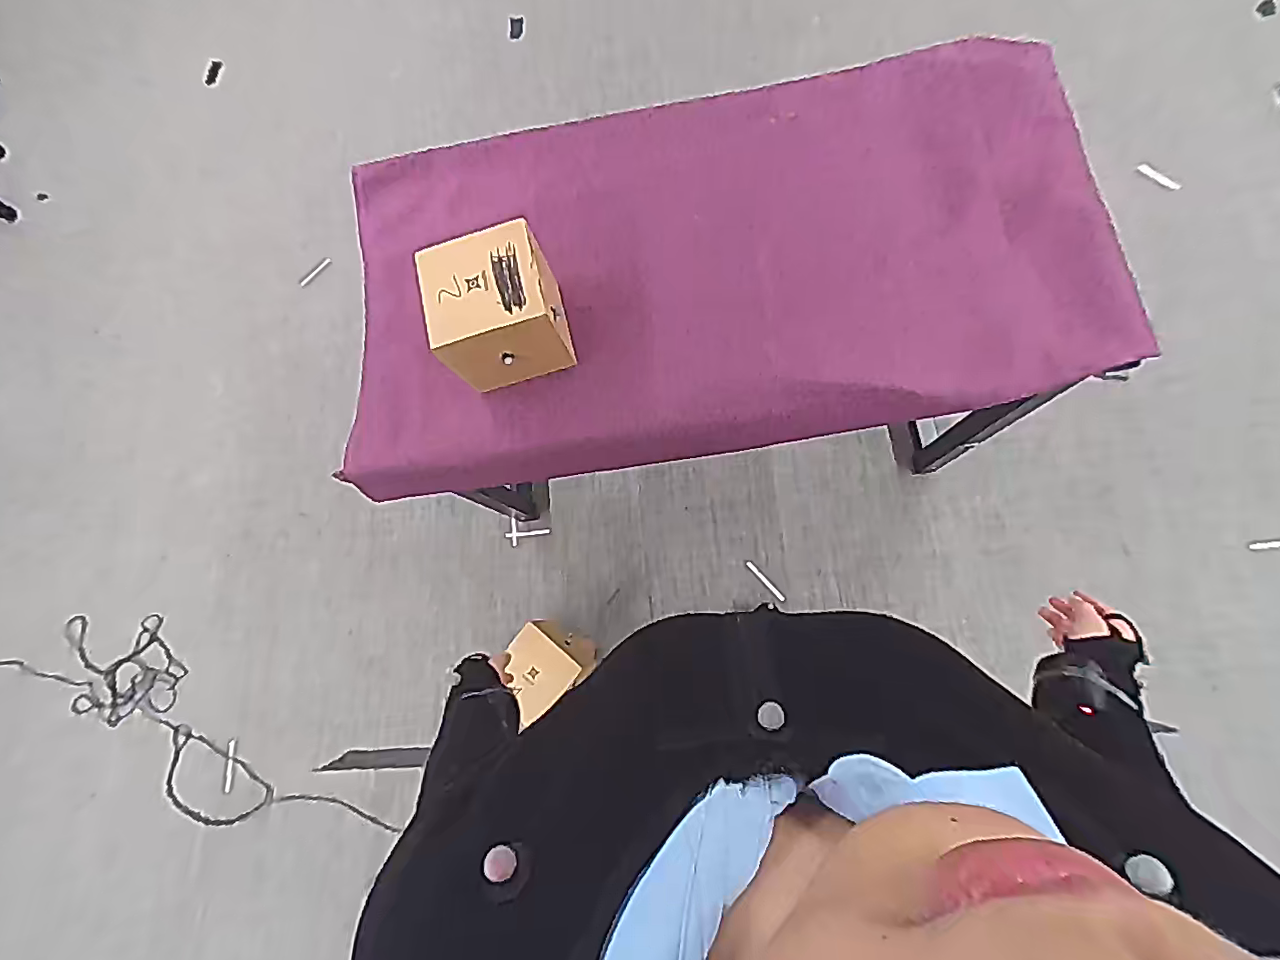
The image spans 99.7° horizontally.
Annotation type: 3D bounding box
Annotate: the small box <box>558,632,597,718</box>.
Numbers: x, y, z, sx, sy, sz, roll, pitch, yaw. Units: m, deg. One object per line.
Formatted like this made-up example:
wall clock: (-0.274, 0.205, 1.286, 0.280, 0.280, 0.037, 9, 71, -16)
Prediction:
small box: (-0.225, 0.501, 1.432, 0.168, 0.176, 0.179, 16, 79, 10)

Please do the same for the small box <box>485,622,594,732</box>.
small box: (-0.225, 0.452, 1.273, 0.168, 0.176, 0.179, 37, 84, 14)
